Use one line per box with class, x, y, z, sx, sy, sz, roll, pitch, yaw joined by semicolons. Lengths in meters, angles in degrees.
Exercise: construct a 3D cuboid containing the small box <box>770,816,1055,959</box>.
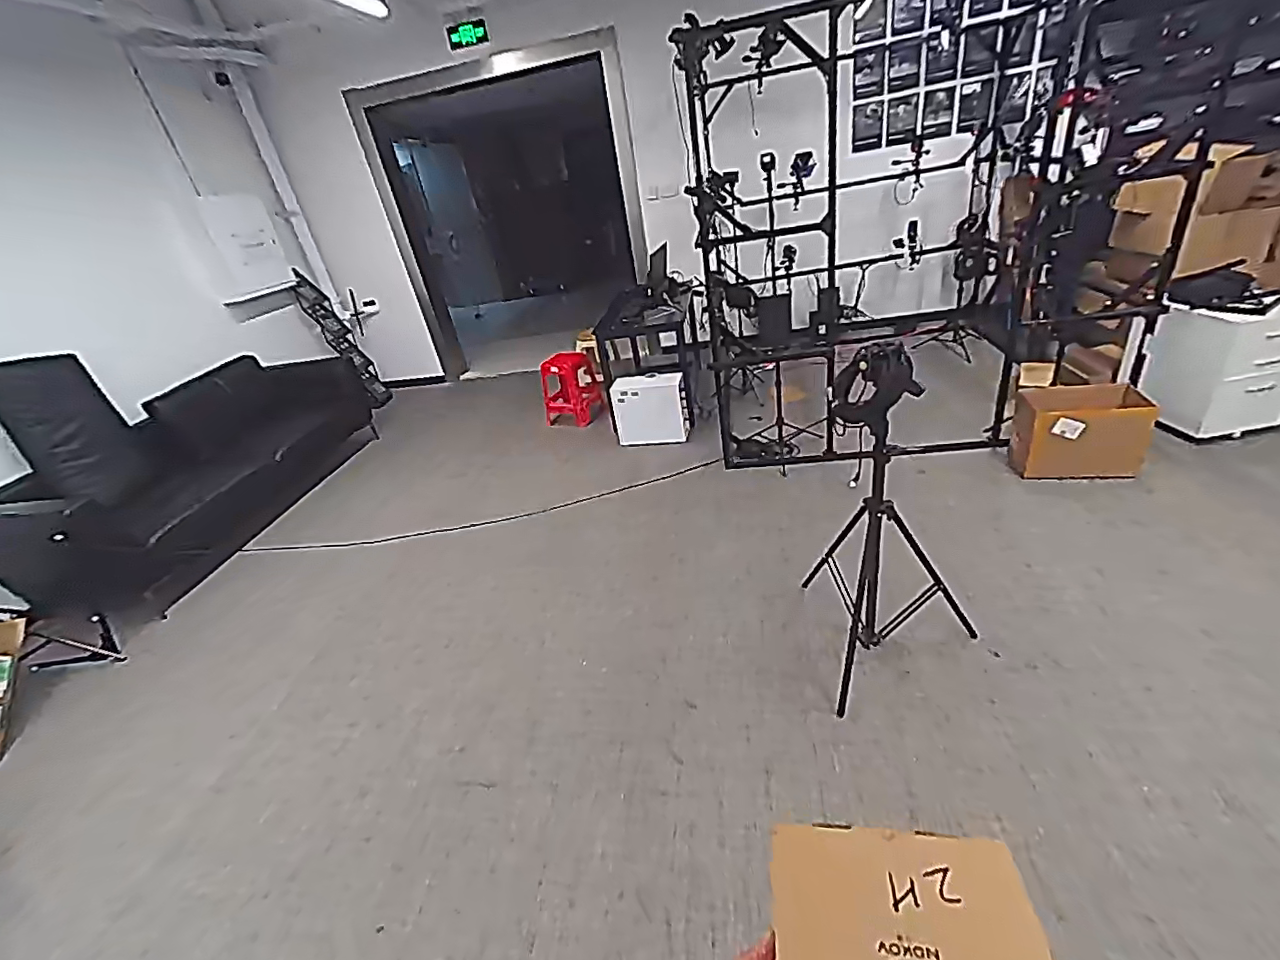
small box;0.175;0.367;0.358;0.168;0.176;0.179;-2;25;12
